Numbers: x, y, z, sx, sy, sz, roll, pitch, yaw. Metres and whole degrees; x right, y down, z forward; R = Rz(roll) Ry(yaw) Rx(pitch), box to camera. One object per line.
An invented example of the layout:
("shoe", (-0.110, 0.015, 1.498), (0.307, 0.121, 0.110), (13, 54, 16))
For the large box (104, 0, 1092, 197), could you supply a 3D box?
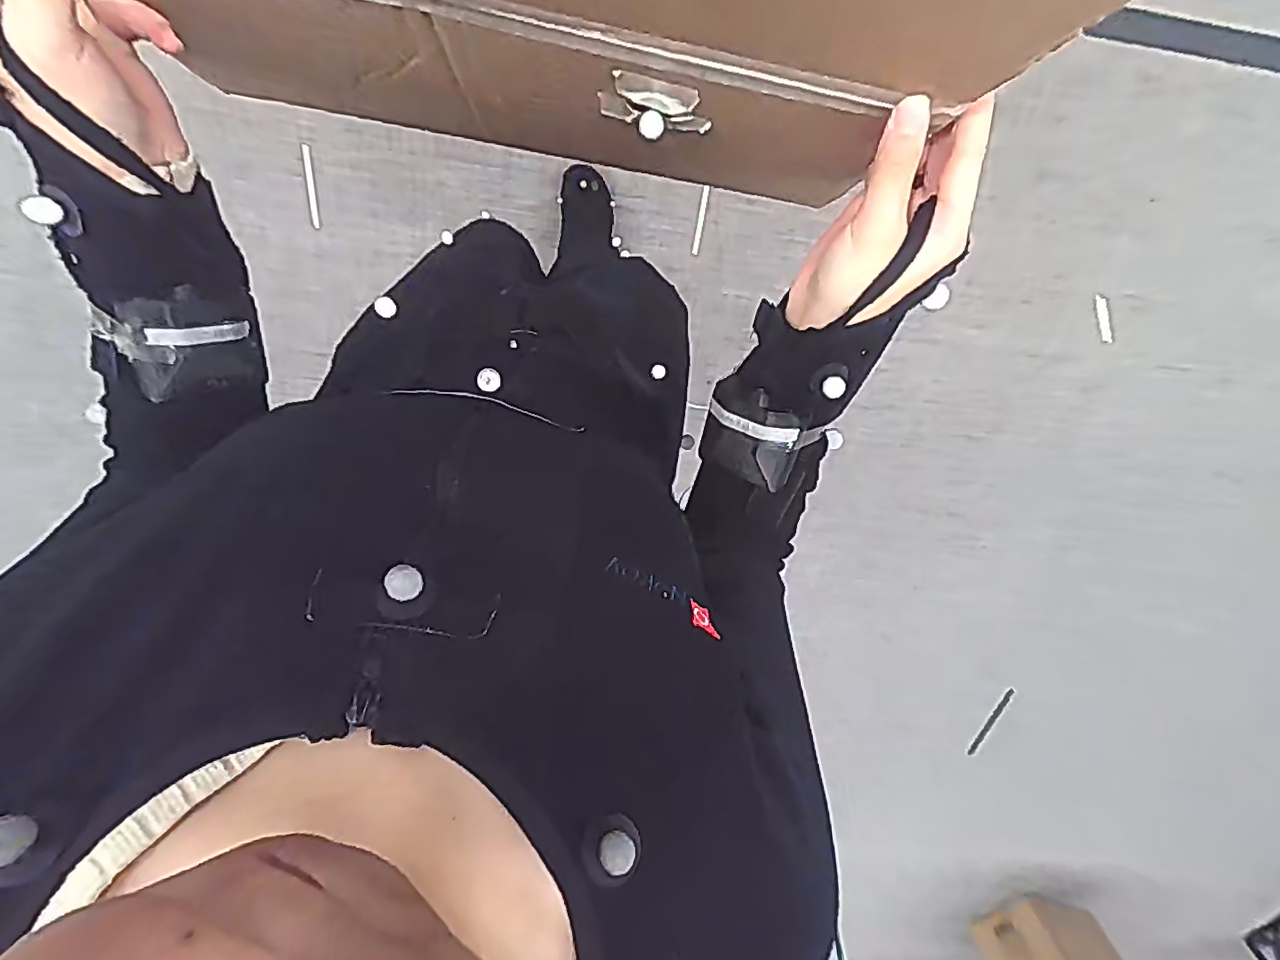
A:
("large box", (-0.034, -0.344, 0.196), (0.408, 0.320, 0.320), (6, 102, -7))
